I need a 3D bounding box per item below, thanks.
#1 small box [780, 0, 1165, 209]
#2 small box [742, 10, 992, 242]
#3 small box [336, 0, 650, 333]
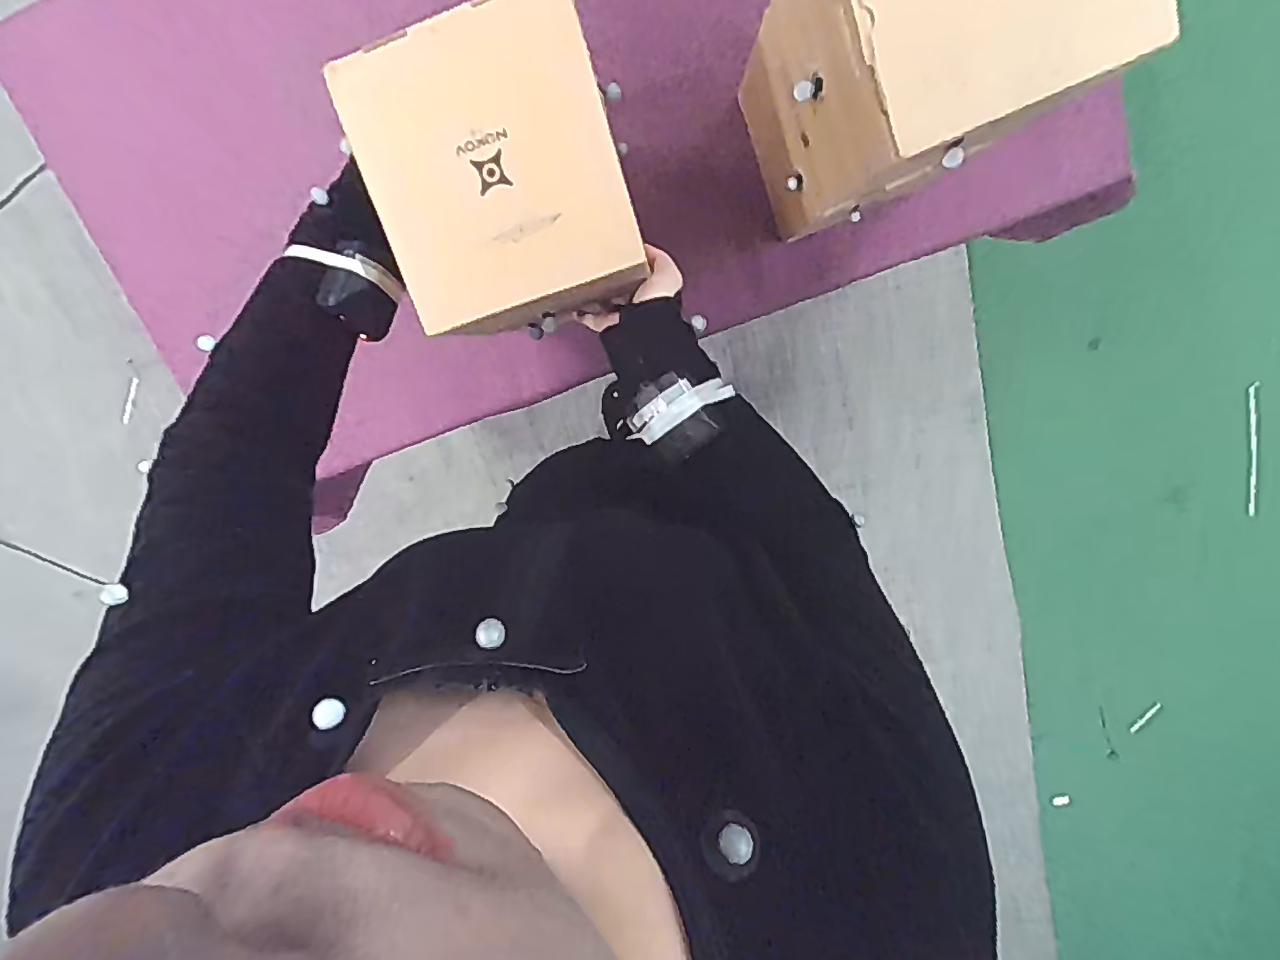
[{"bbox_3d":[0.215,-0.328,0.401,0.179,0.176,0.168,-21,104,8],"label":"small box"},{"bbox_3d":[0.217,-0.373,0.559,0.168,0.176,0.179,-21,104,7],"label":"small box"},{"bbox_3d":[-0.093,-0.226,0.435,0.168,0.176,0.179,-16,103,7],"label":"small box"}]
